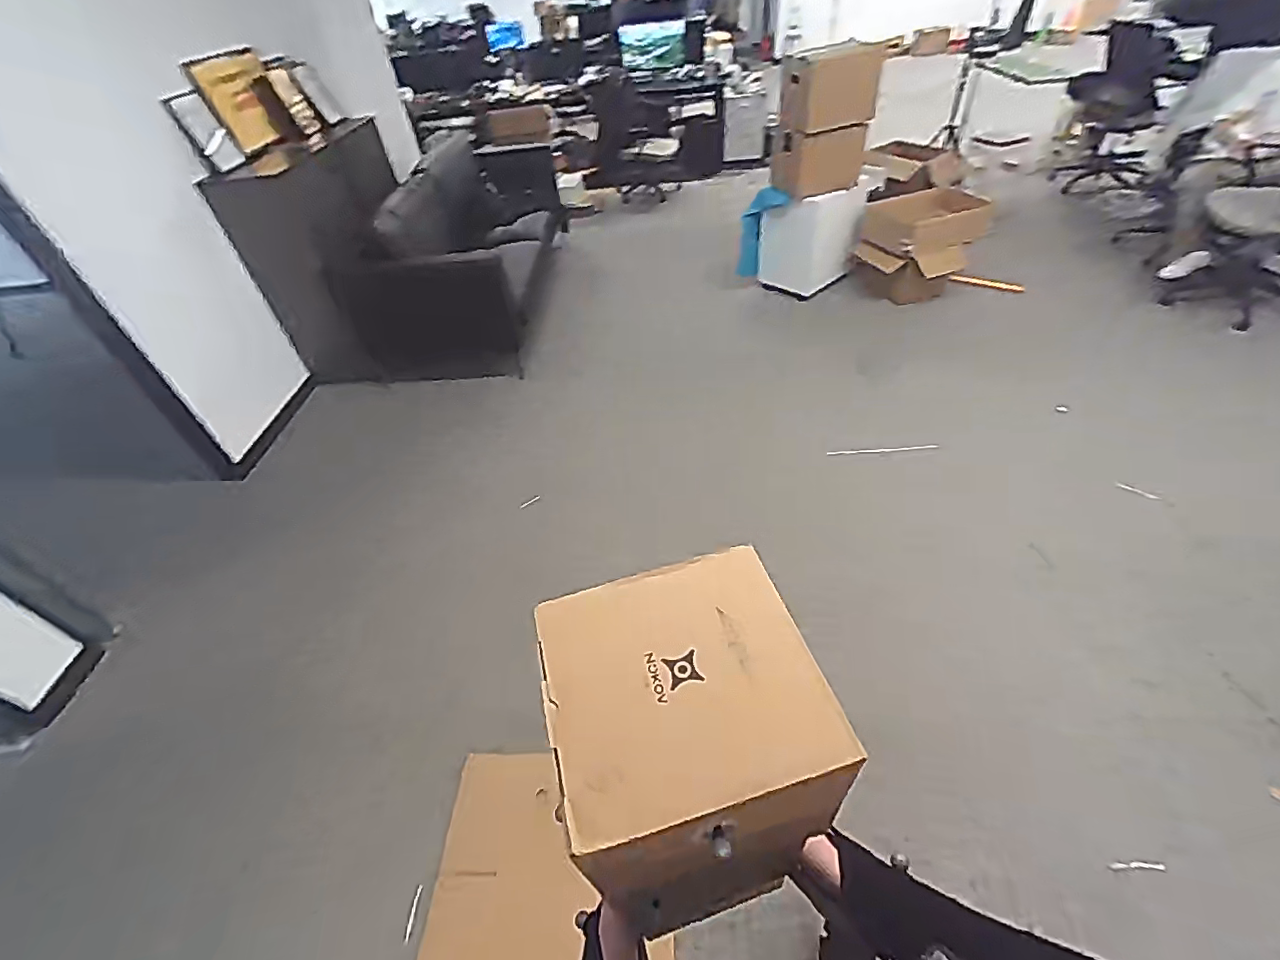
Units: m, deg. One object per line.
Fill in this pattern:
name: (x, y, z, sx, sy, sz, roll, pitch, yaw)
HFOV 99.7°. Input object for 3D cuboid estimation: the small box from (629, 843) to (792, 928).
small box: (0.064, 0.407, 0.654, 0.179, 0.176, 0.168, -15, 44, -7)

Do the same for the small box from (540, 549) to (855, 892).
small box: (0.035, 0.185, 0.415, 0.179, 0.176, 0.168, -14, 45, -5)
